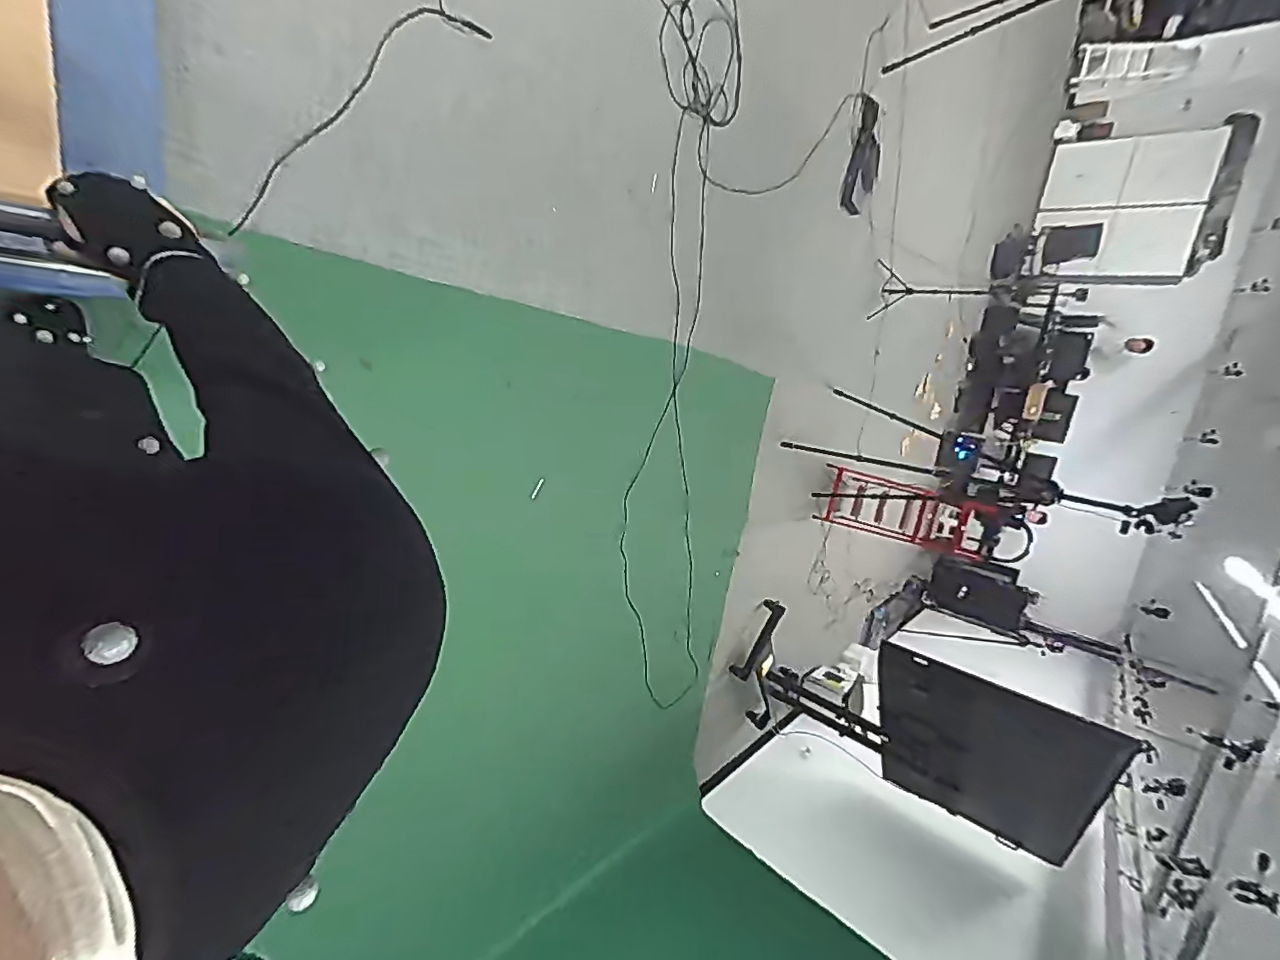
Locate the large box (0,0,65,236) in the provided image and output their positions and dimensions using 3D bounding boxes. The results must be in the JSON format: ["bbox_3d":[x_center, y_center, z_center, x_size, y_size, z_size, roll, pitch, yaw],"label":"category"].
[{"bbox_3d":[-1.016,-0.578,0.713,0.320,0.320,0.408,-7,107,-49],"label":"large box"}]
